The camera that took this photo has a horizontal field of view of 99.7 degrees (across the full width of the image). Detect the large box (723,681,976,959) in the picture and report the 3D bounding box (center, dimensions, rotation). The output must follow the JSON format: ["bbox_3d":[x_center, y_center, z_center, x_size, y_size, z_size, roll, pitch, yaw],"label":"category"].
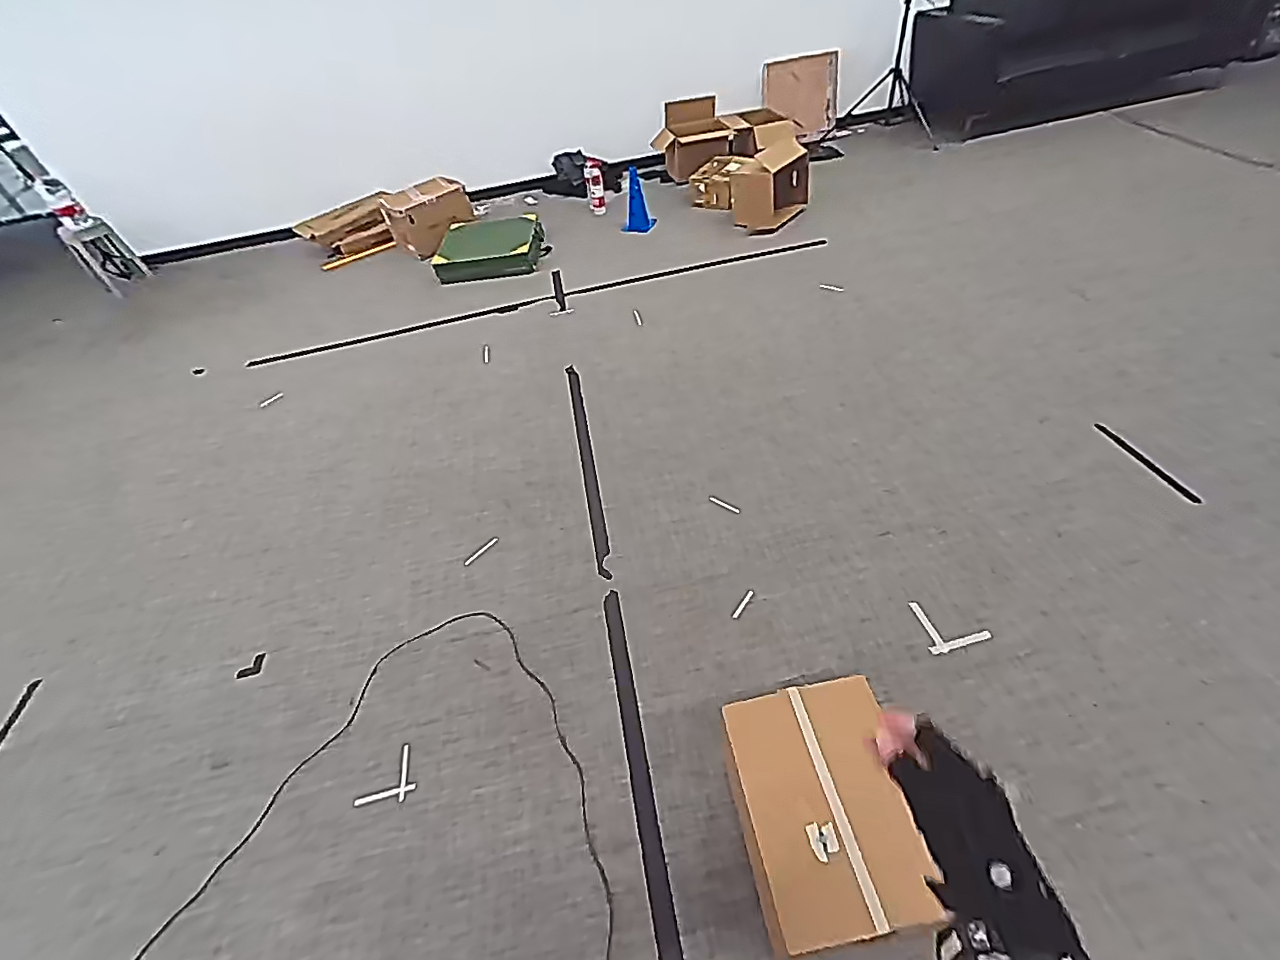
[{"bbox_3d":[0.375,0.693,1.108,0.320,0.320,0.408,-13,47,-1],"label":"large box"}]
